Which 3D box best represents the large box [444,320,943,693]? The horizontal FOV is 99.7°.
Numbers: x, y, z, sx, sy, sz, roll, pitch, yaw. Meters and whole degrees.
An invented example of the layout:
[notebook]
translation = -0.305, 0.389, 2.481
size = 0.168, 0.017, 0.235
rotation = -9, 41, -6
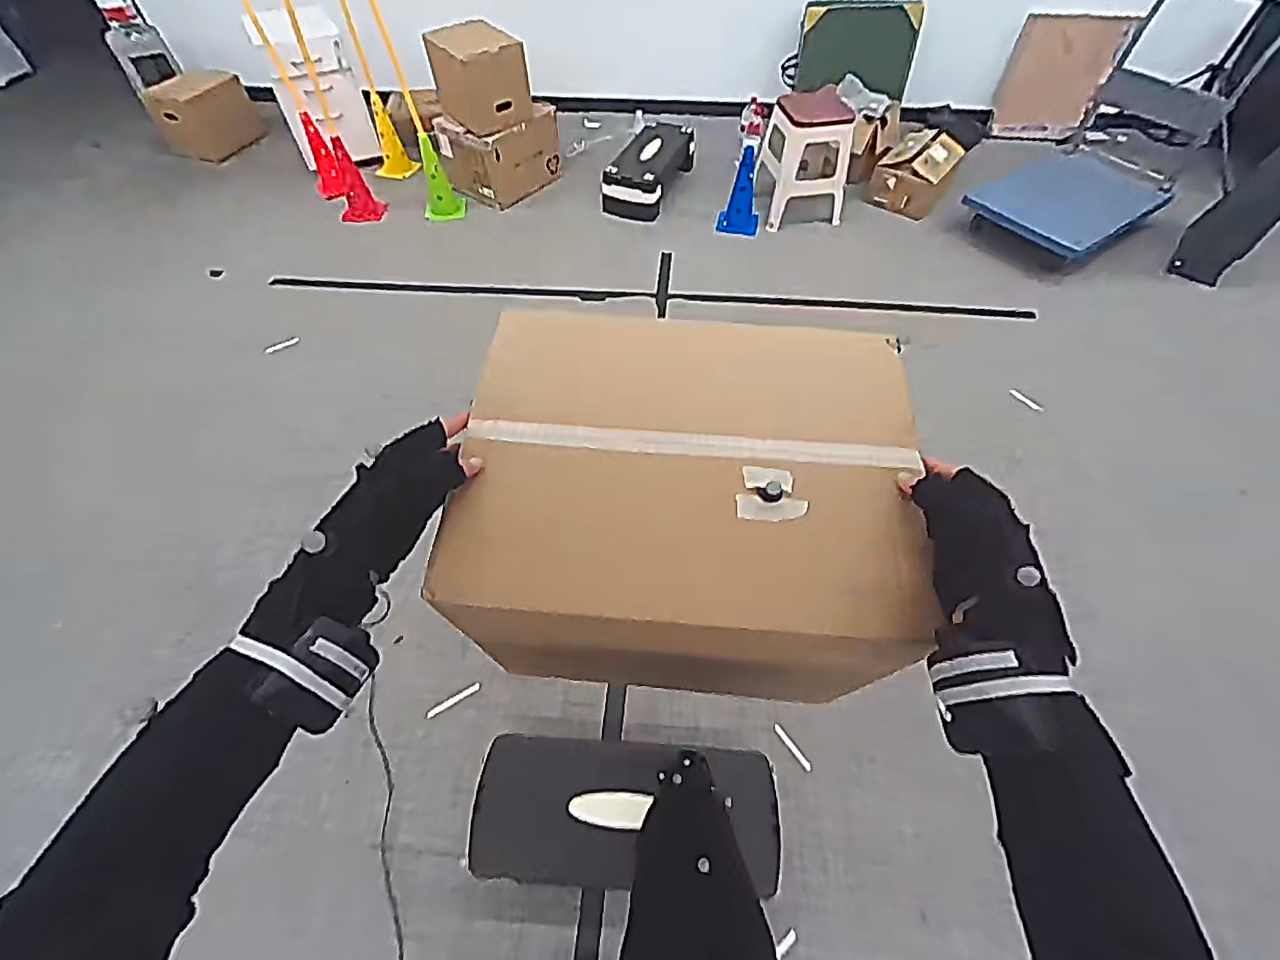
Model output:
[large box]
translation = 0.046, 0.048, 0.625
size = 0.408, 0.320, 0.320
rotation = 5, 61, 1
